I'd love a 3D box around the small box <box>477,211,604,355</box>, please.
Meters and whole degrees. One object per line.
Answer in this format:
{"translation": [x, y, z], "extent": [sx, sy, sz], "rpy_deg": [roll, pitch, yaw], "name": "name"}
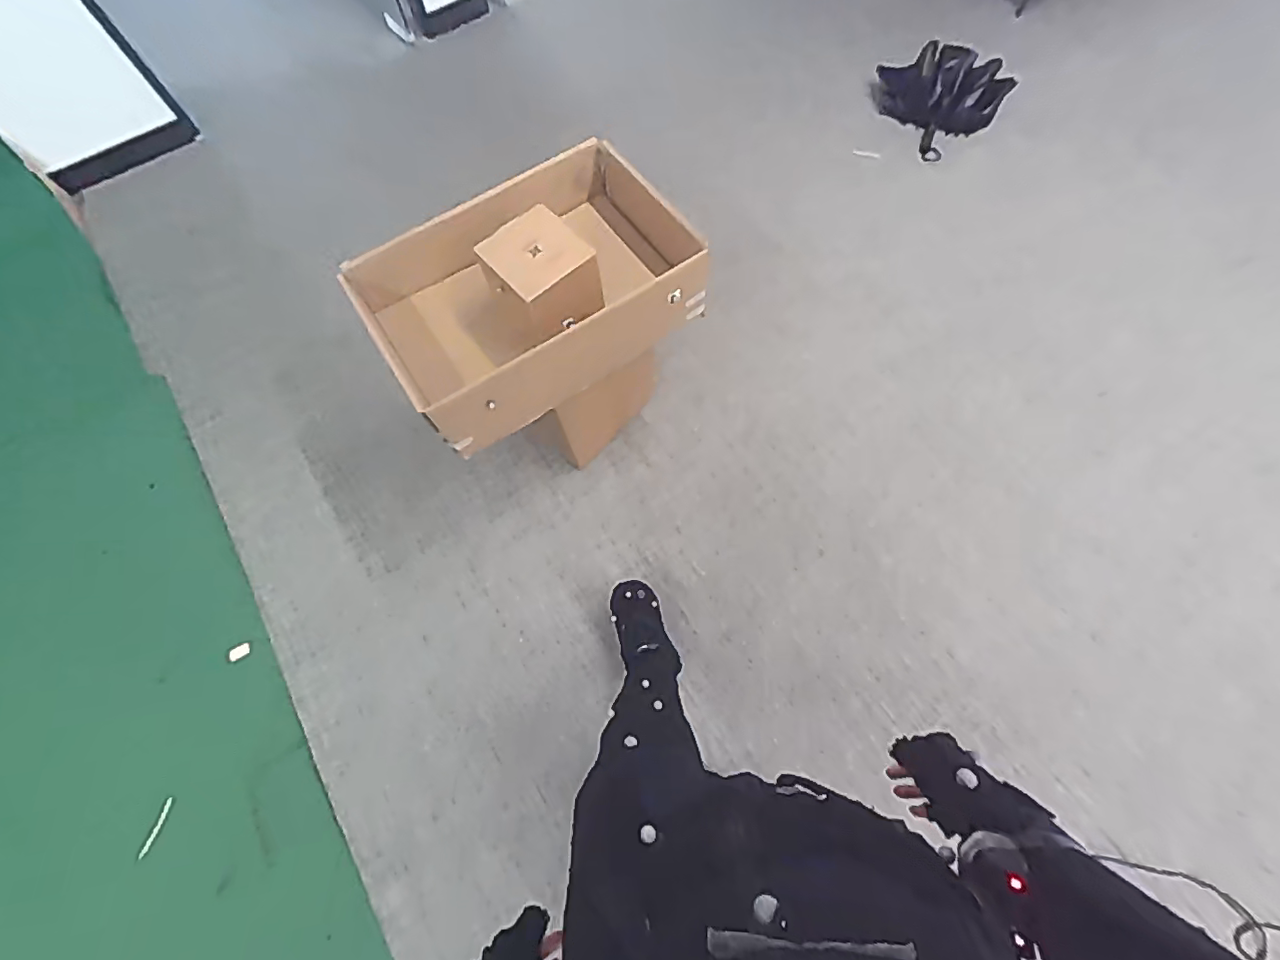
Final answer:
{"translation": [-0.190, -0.387, 1.085], "extent": [0.168, 0.176, 0.179], "rpy_deg": [-40, 72, -11], "name": "small box"}
